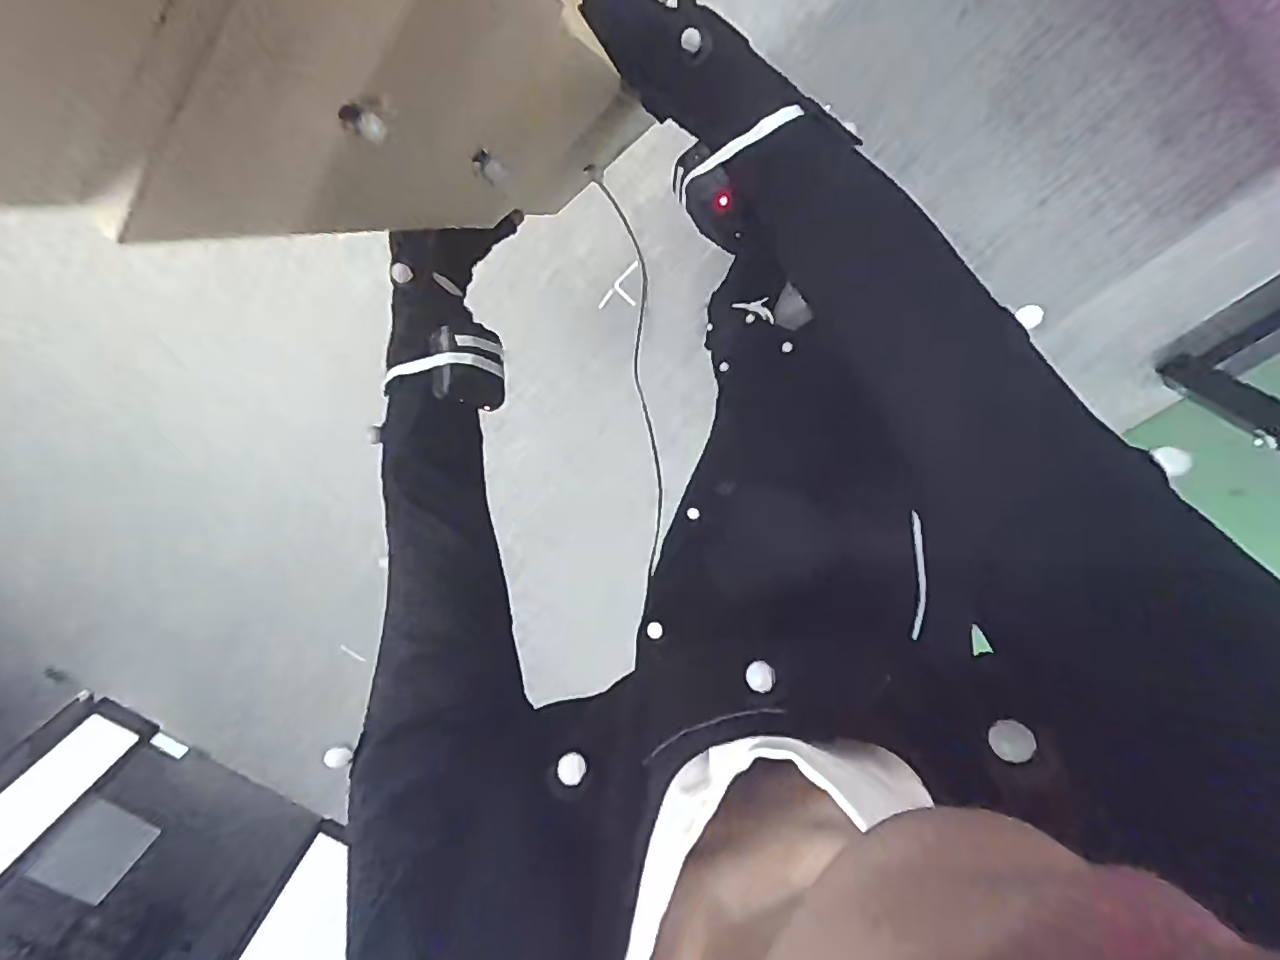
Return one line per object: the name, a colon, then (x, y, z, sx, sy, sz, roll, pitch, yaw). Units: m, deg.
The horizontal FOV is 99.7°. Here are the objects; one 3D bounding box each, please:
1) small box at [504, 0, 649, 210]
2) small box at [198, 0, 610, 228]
small box: (-0.114, -0.380, 0.512, 0.168, 0.176, 0.179, -29, 106, 24)
small box: (-0.137, -0.301, 0.371, 0.179, 0.176, 0.168, -28, 106, 24)
